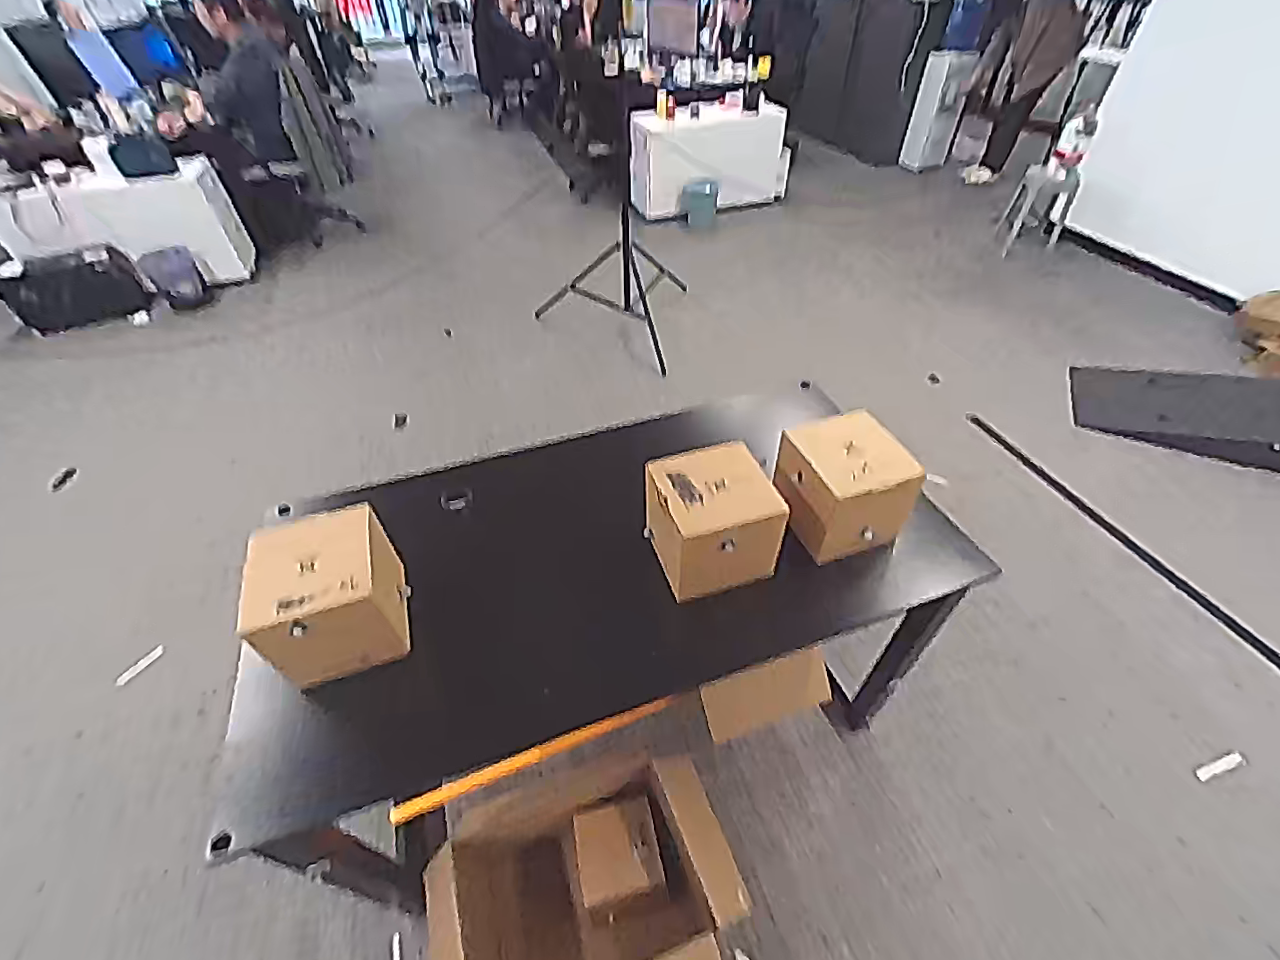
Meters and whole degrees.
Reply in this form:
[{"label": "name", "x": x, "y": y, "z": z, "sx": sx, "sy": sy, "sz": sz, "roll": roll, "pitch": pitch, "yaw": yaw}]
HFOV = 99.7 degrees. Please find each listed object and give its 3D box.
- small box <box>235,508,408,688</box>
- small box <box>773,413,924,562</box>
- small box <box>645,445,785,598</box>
[{"label": "small box", "x": -0.459, "y": 0.175, "z": 0.807, "sx": 0.168, "sy": 0.176, "sz": 0.179, "roll": -15, "pitch": 46, "yaw": -14}, {"label": "small box", "x": 0.348, "y": 0.012, "z": 0.947, "sx": 0.168, "sy": 0.176, "sz": 0.179, "roll": -15, "pitch": 46, "yaw": -11}, {"label": "small box", "x": 0.115, "y": 0.071, "z": 0.897, "sx": 0.179, "sy": 0.176, "sz": 0.168, "roll": -13, "pitch": 46, "yaw": -12}]
